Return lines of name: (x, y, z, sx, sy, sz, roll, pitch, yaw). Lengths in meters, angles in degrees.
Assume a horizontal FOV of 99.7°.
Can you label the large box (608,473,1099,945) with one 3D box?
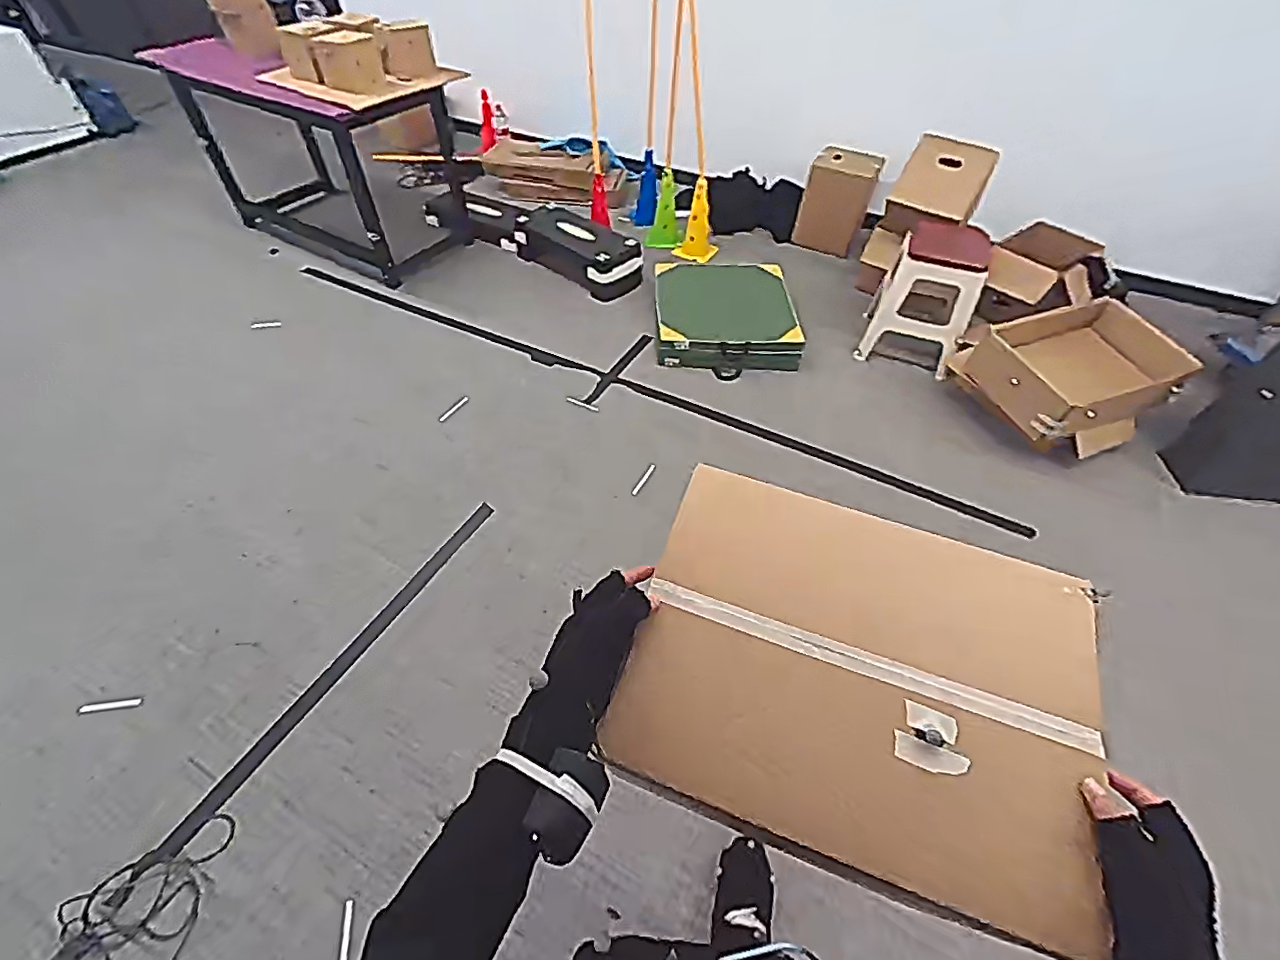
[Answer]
large box: (0.206, 0.244, 0.635, 0.408, 0.320, 0.320, 18, 62, 11)
